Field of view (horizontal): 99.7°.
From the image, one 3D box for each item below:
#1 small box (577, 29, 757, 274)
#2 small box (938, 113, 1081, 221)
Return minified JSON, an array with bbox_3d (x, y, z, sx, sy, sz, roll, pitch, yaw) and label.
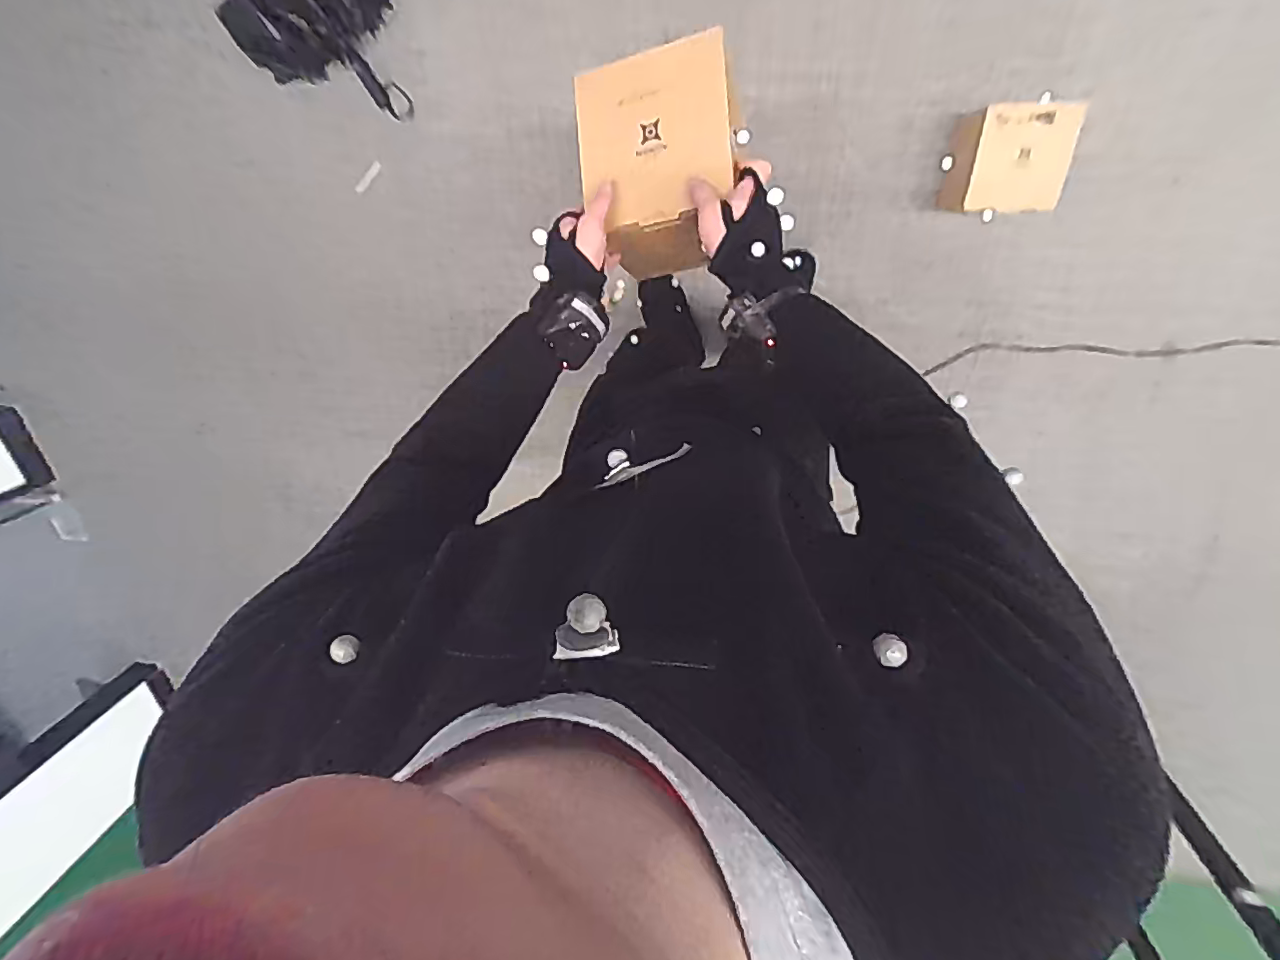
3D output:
[{"bbox_3d":[0.041,-0.362,0.642,0.168,0.176,0.179,-6,90,19],"label":"small box"},{"bbox_3d":[0.726,-0.624,1.088,0.168,0.176,0.179,5,117,8],"label":"small box"}]
